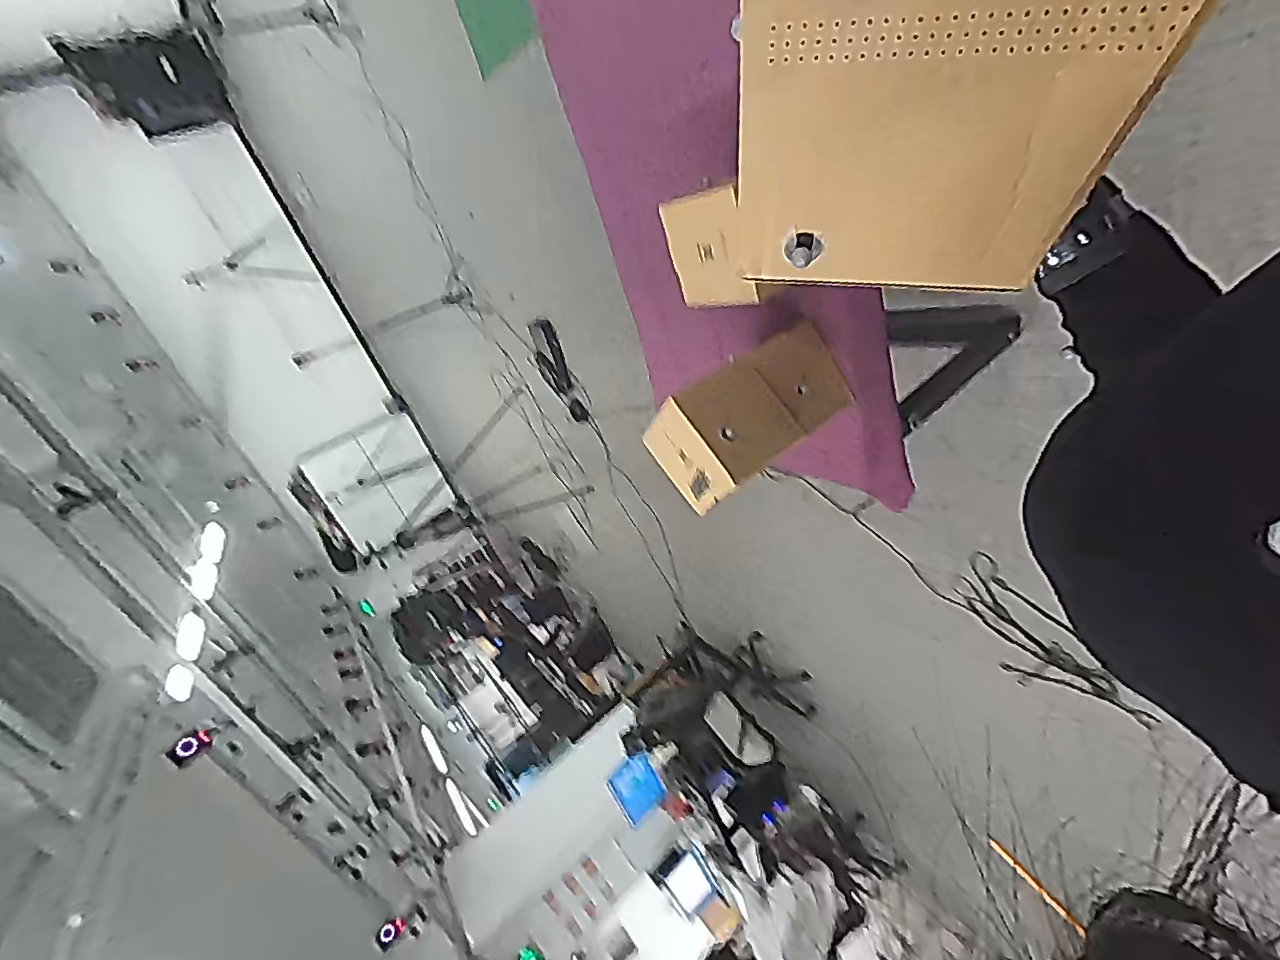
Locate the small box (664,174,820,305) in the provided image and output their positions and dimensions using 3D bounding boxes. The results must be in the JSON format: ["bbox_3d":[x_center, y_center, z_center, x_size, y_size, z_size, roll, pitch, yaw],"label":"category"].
[{"bbox_3d":[0.173,-0.396,0.881,0.179,0.176,0.168,21,139,52],"label":"small box"}]

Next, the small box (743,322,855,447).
[{"bbox_3d":[0.261,-0.161,1.007,0.179,0.176,0.168,58,155,-4],"label":"small box"}]

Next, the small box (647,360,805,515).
[{"bbox_3d":[0.146,-0.072,0.927,0.179,0.176,0.168,54,156,8],"label":"small box"}]

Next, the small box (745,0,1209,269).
[{"bbox_3d":[0.154,-0.239,0.288,0.179,0.168,0.176,8,158,12],"label":"small box"}]
